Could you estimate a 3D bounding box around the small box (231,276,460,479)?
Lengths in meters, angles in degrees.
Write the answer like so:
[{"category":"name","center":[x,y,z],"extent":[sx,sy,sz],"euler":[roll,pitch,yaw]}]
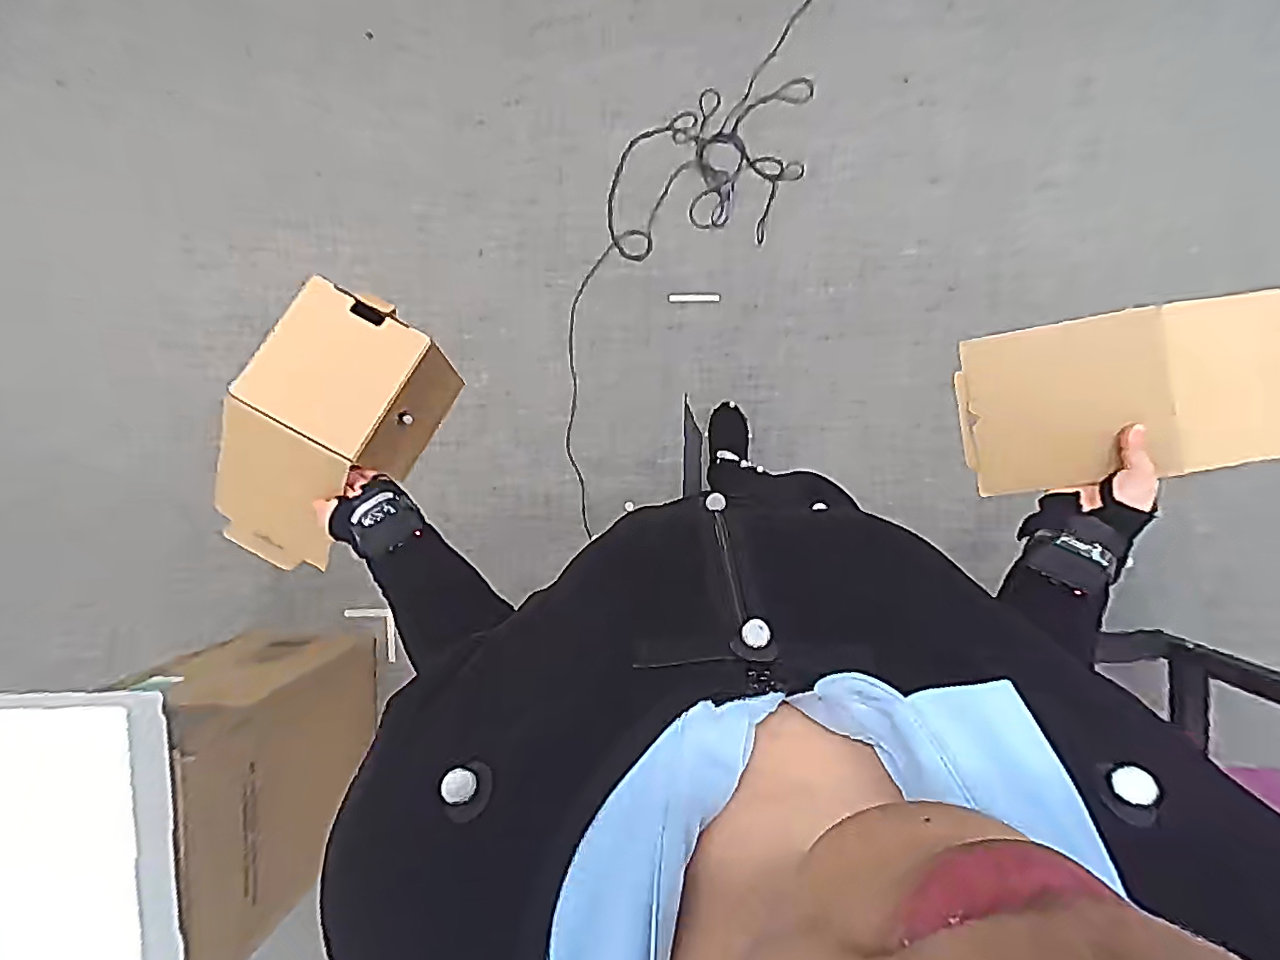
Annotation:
[{"category":"small box","center":[-0.362,-0.119,0.707],"extent":[0.168,0.176,0.179],"euler":[28,79,1]}]
